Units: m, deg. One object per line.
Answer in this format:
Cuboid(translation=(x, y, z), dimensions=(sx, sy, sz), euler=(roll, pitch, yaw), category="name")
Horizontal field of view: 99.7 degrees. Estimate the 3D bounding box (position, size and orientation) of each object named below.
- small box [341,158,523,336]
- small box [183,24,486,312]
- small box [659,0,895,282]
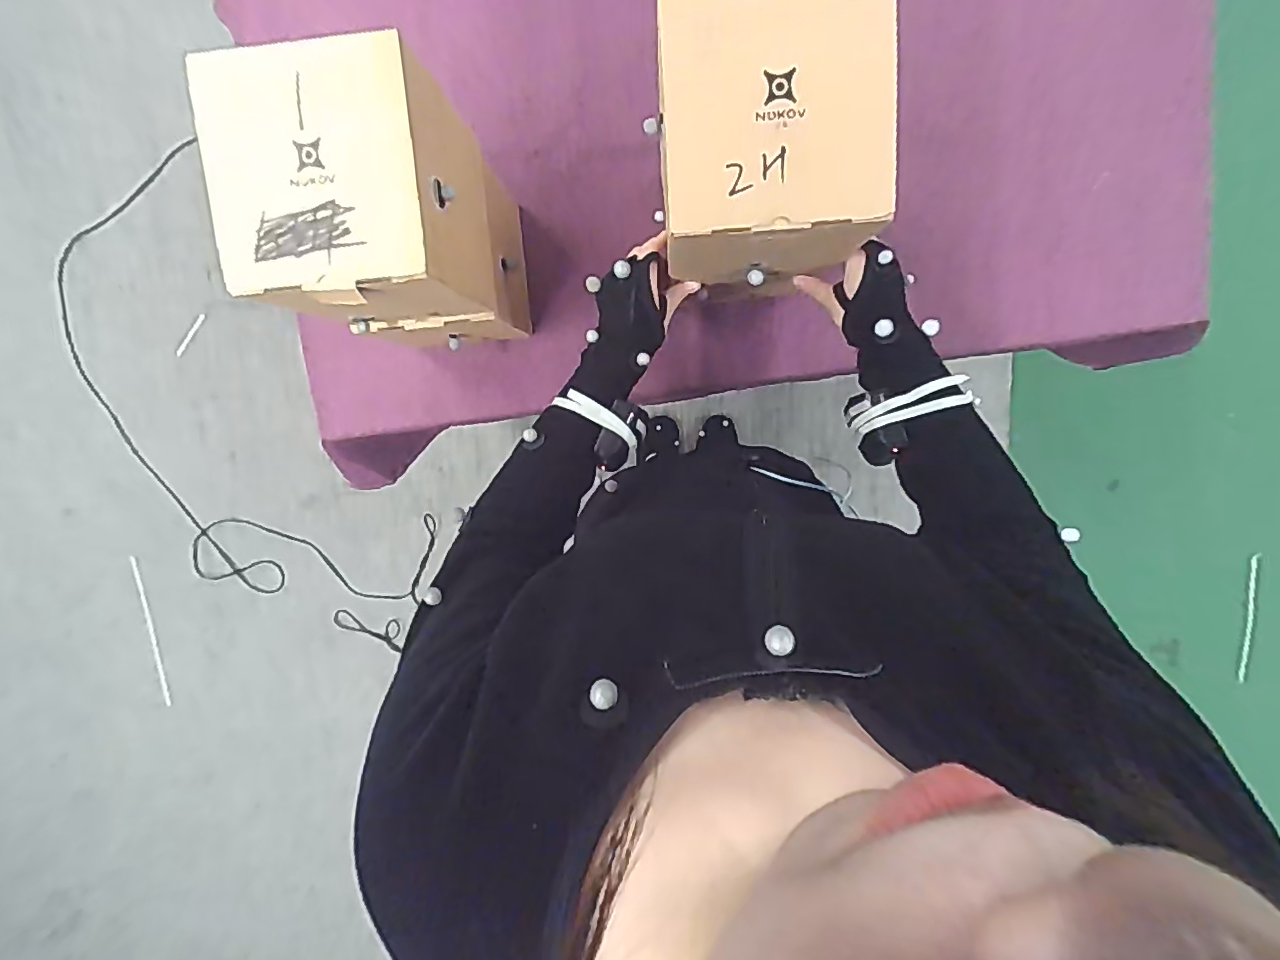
Cuboid(translation=(-0.245, -0.269, 0.649), dimensions=(0.168, 0.176, 0.179), euler=(-4, 99, 2), category="small box")
Cuboid(translation=(-0.247, -0.252, 0.485), dimensions=(0.168, 0.176, 0.179), euler=(-3, 98, 2), category="small box")
Cuboid(translation=(0.100, -0.282, 0.468), dimensions=(0.168, 0.176, 0.179), euler=(-1, 99, 3), category="small box")
